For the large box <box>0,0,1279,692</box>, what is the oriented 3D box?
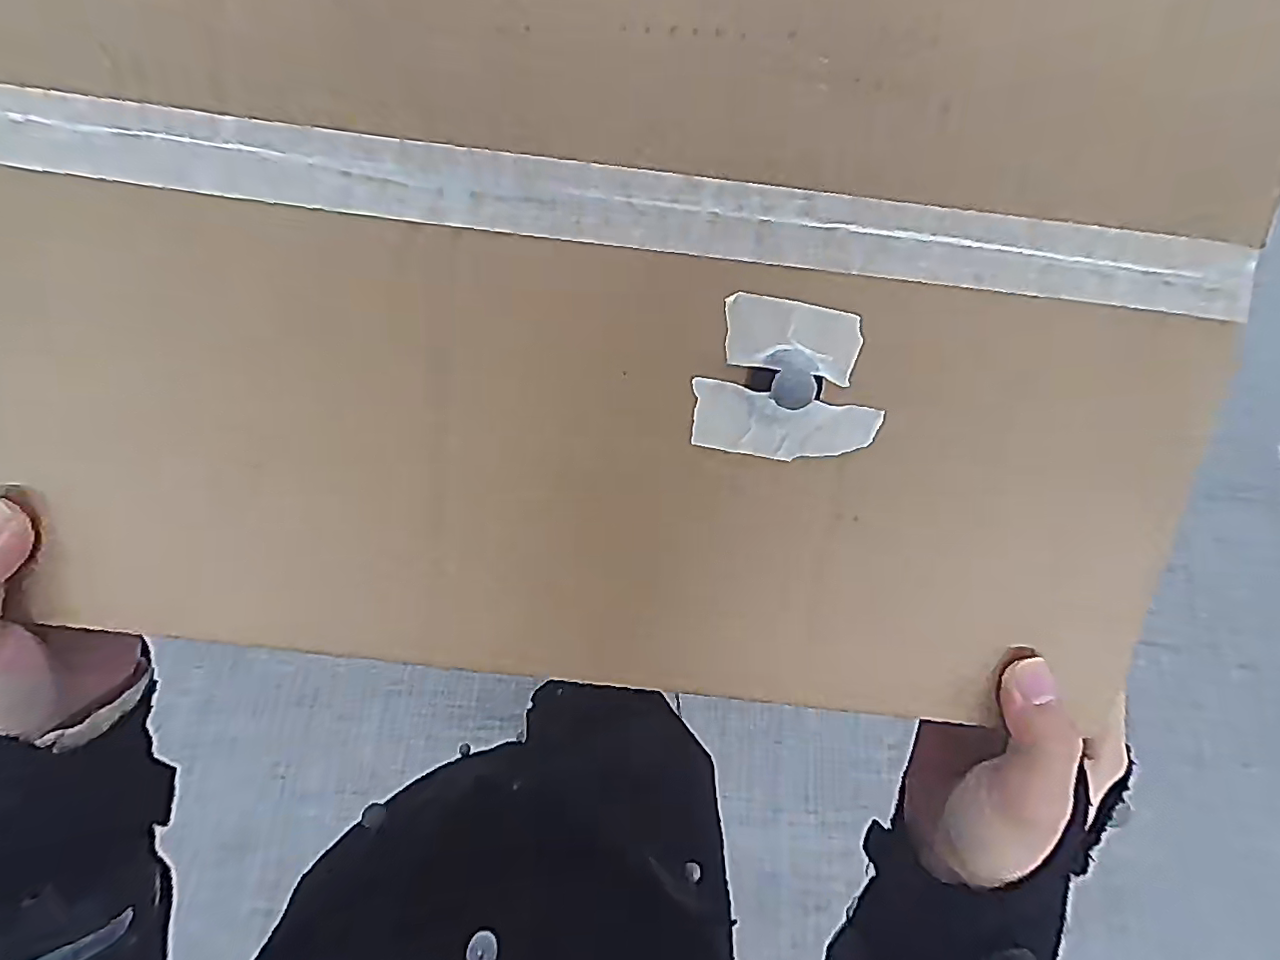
[{"bbox_3d":[-0.014,-0.112,0.321,0.408,0.320,0.320,6,102,-2],"label":"large box"}]
